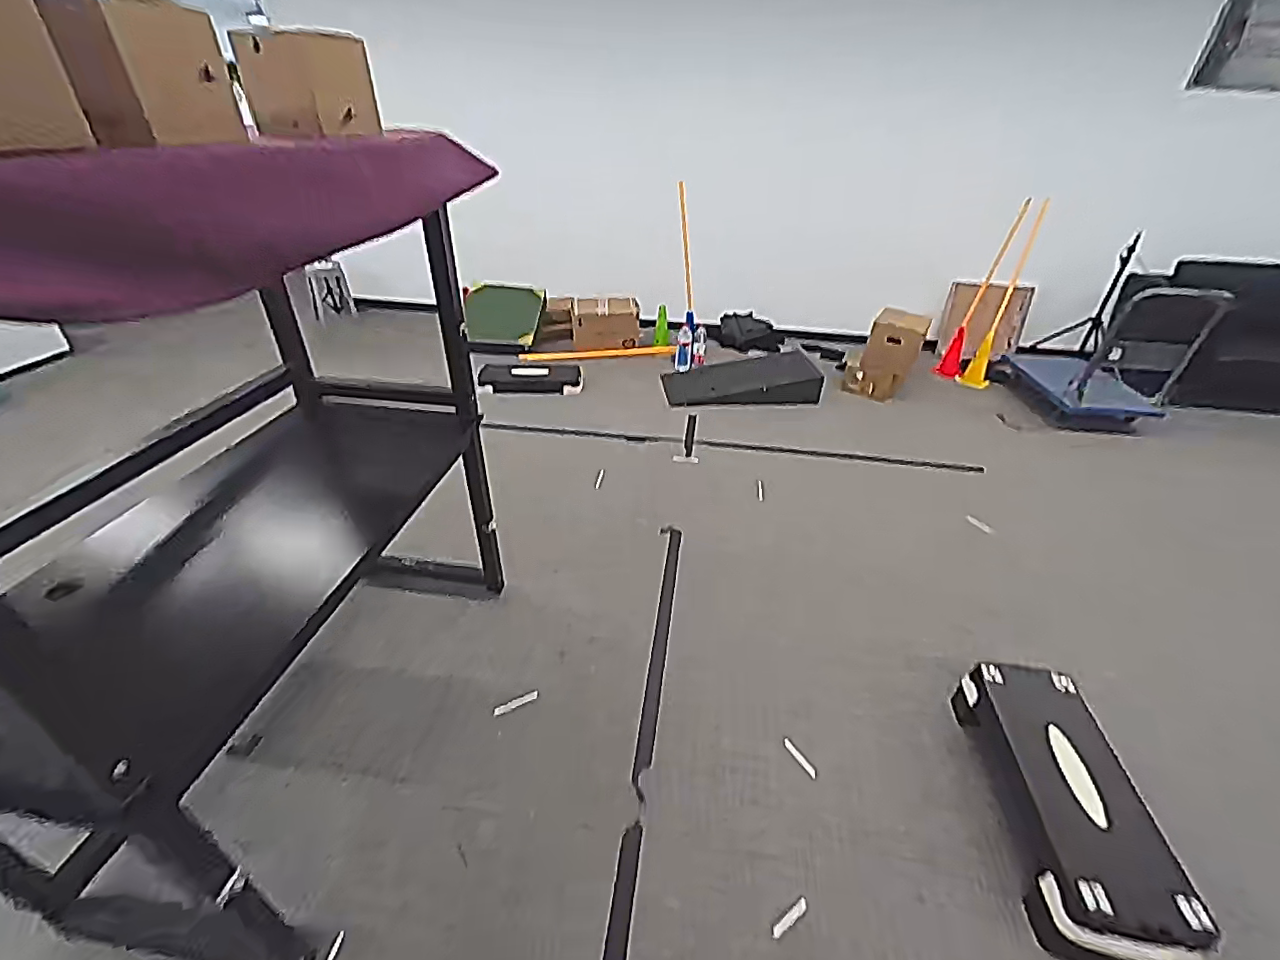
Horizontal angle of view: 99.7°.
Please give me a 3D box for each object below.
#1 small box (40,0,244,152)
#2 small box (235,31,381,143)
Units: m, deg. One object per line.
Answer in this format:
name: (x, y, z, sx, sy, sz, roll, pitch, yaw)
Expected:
small box: (-0.719, -0.578, 0.780, 0.168, 0.176, 0.179, 5, 34, 7)
small box: (-0.655, -0.788, 1.094, 0.168, 0.176, 0.179, 11, 35, 14)
